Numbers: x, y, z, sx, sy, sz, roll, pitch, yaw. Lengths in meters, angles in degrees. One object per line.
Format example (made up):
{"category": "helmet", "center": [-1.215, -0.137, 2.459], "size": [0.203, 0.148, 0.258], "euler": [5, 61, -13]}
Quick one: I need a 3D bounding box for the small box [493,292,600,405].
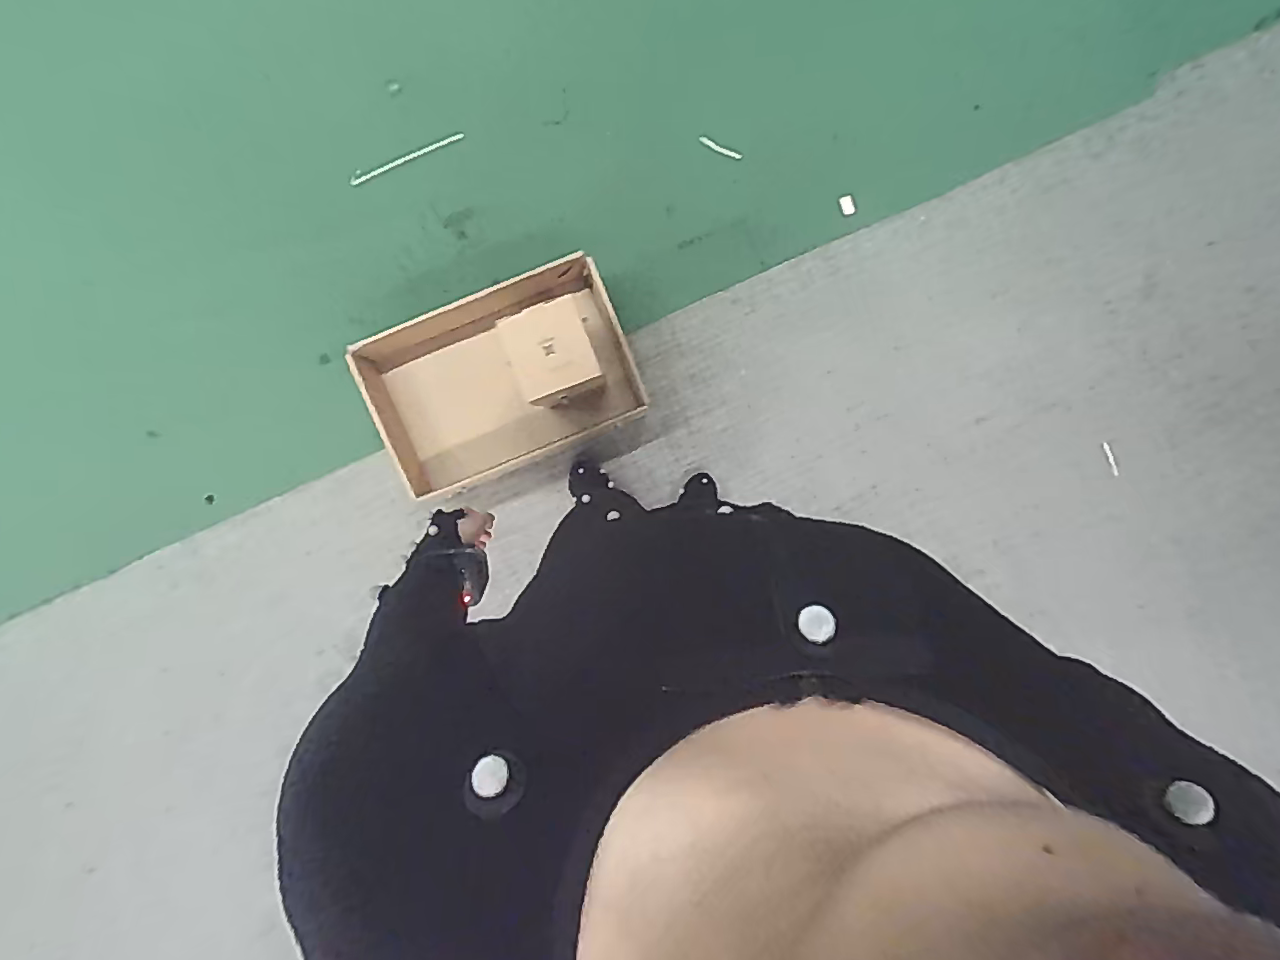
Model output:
{"category": "small box", "center": [-0.191, -0.271, 1.151], "size": [0.168, 0.176, 0.179], "euler": [-21, 96, -1]}
